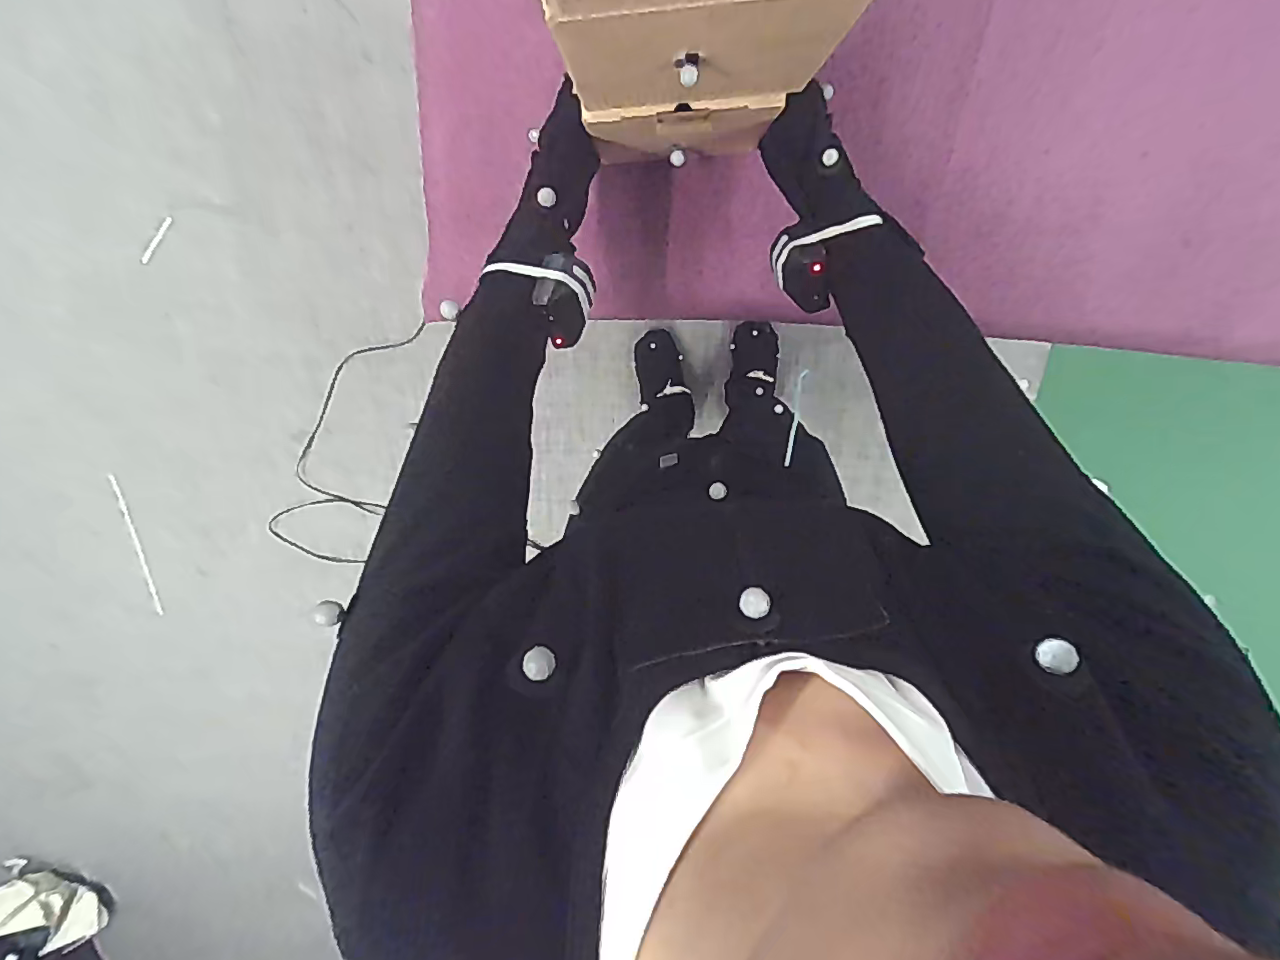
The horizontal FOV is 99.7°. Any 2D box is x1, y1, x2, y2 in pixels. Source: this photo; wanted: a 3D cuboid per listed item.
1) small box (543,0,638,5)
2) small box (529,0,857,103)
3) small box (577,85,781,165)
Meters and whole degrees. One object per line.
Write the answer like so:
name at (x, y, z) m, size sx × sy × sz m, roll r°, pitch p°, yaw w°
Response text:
small box at (0.019, -0.294, 0.172) m, size 0.179 × 0.176 × 0.168 m, roll -4°, pitch 110°, yaw 4°
small box at (0.029, -0.348, 0.323) m, size 0.179 × 0.176 × 0.168 m, roll -1°, pitch 108°, yaw 2°
small box at (0.029, -0.402, 0.481) m, size 0.168 × 0.176 × 0.179 m, roll -3°, pitch 110°, yaw 4°
